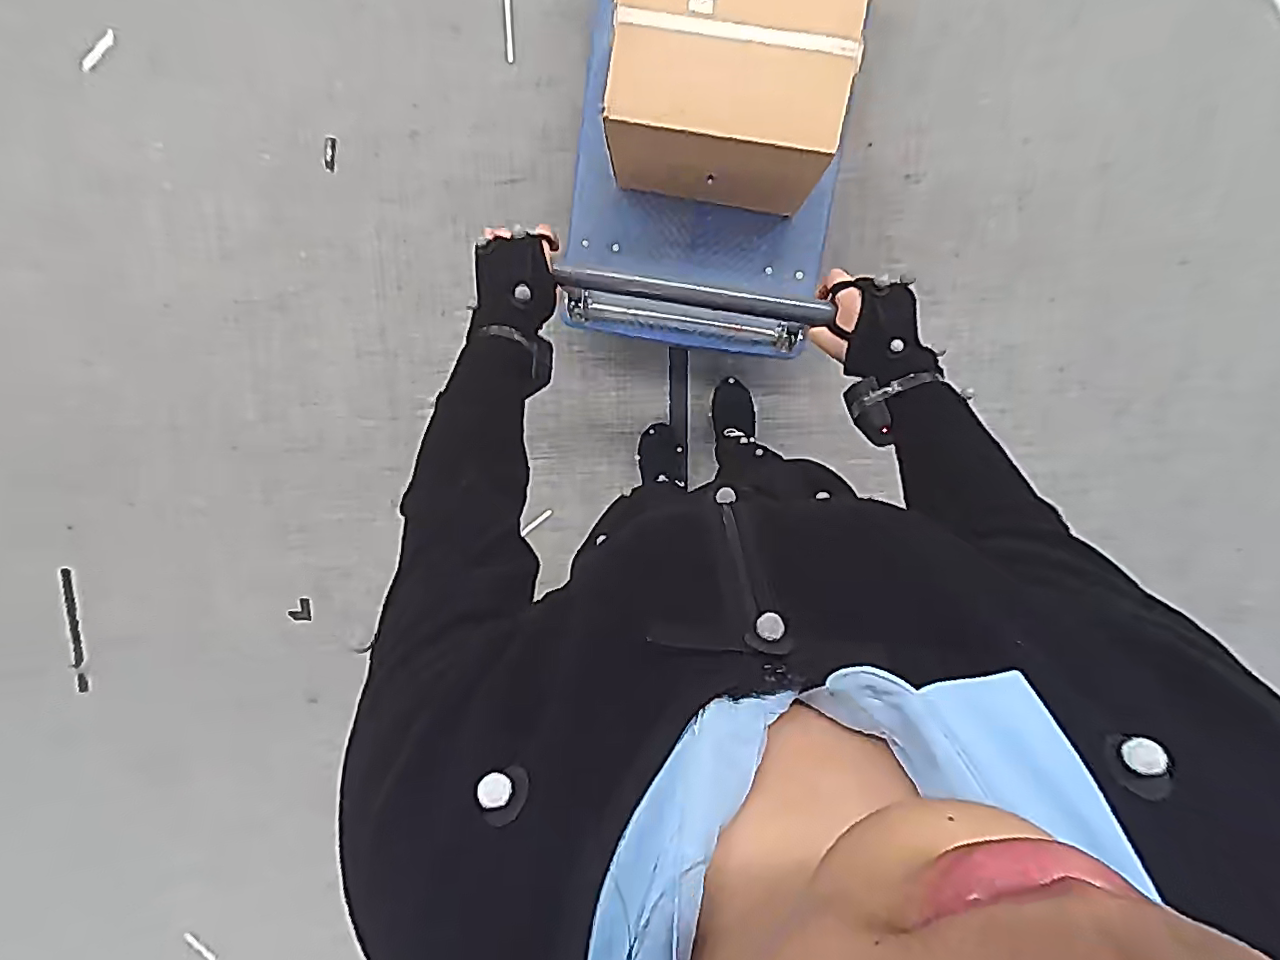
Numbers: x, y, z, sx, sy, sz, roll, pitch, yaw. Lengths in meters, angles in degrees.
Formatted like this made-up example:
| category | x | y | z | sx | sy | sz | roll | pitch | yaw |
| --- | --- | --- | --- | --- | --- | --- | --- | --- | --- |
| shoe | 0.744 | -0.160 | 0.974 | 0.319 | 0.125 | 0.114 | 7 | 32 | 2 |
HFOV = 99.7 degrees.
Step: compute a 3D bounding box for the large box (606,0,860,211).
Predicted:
| category | x | y | z | sx | sy | sz | roll | pitch | yaw |
| --- | --- | --- | --- | --- | --- | --- | --- | --- | --- |
| large box | 0.168 | -0.760 | 1.063 | 0.408 | 0.320 | 0.320 | 10 | 97 | 2 |
